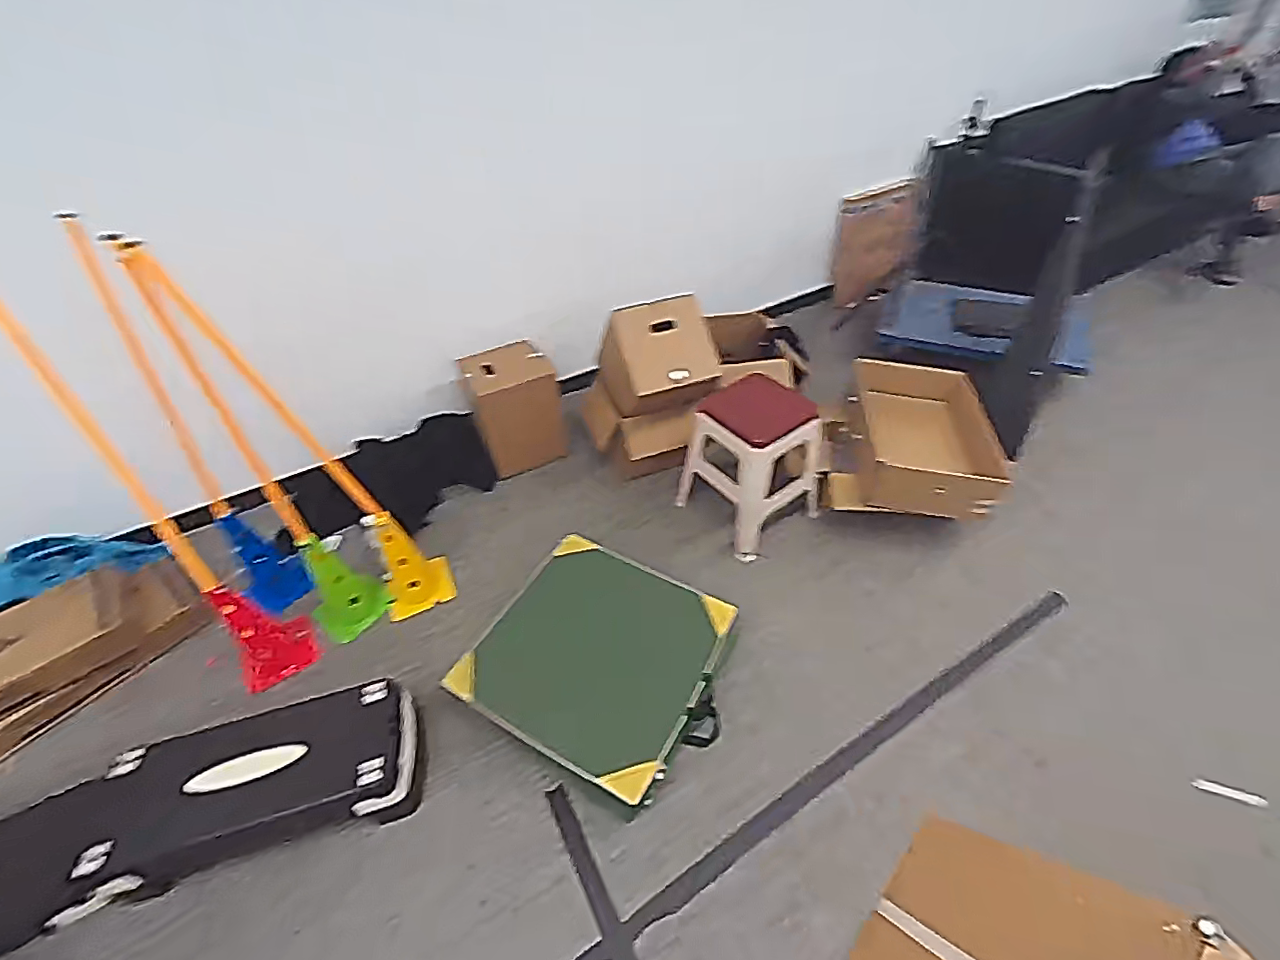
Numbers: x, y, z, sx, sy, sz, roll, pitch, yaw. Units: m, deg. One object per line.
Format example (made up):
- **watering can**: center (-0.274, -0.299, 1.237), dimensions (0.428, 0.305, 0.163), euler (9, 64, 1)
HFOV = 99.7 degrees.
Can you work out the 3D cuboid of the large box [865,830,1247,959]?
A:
- **large box**: center (0.520, 0.692, 0.611), dimensions (0.320, 0.408, 0.320), euler (42, 70, 6)
